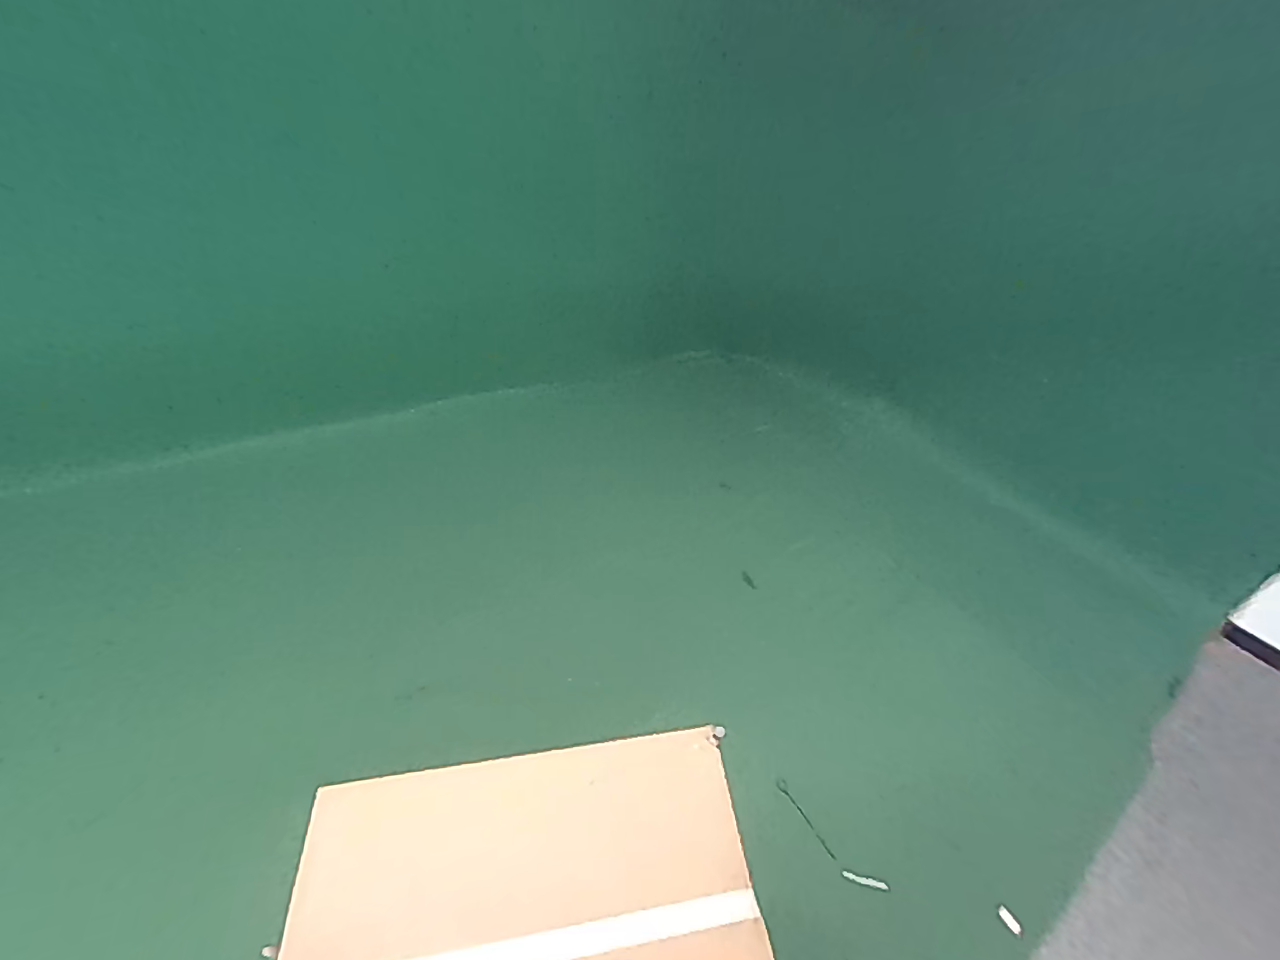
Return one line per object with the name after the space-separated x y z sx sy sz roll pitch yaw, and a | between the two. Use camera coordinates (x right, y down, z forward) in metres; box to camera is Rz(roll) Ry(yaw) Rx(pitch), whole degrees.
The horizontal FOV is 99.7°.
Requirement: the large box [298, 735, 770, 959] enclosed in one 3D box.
-0.098 0.512 0.569 0.408 0.320 0.320 -4 46 -9 | large box
